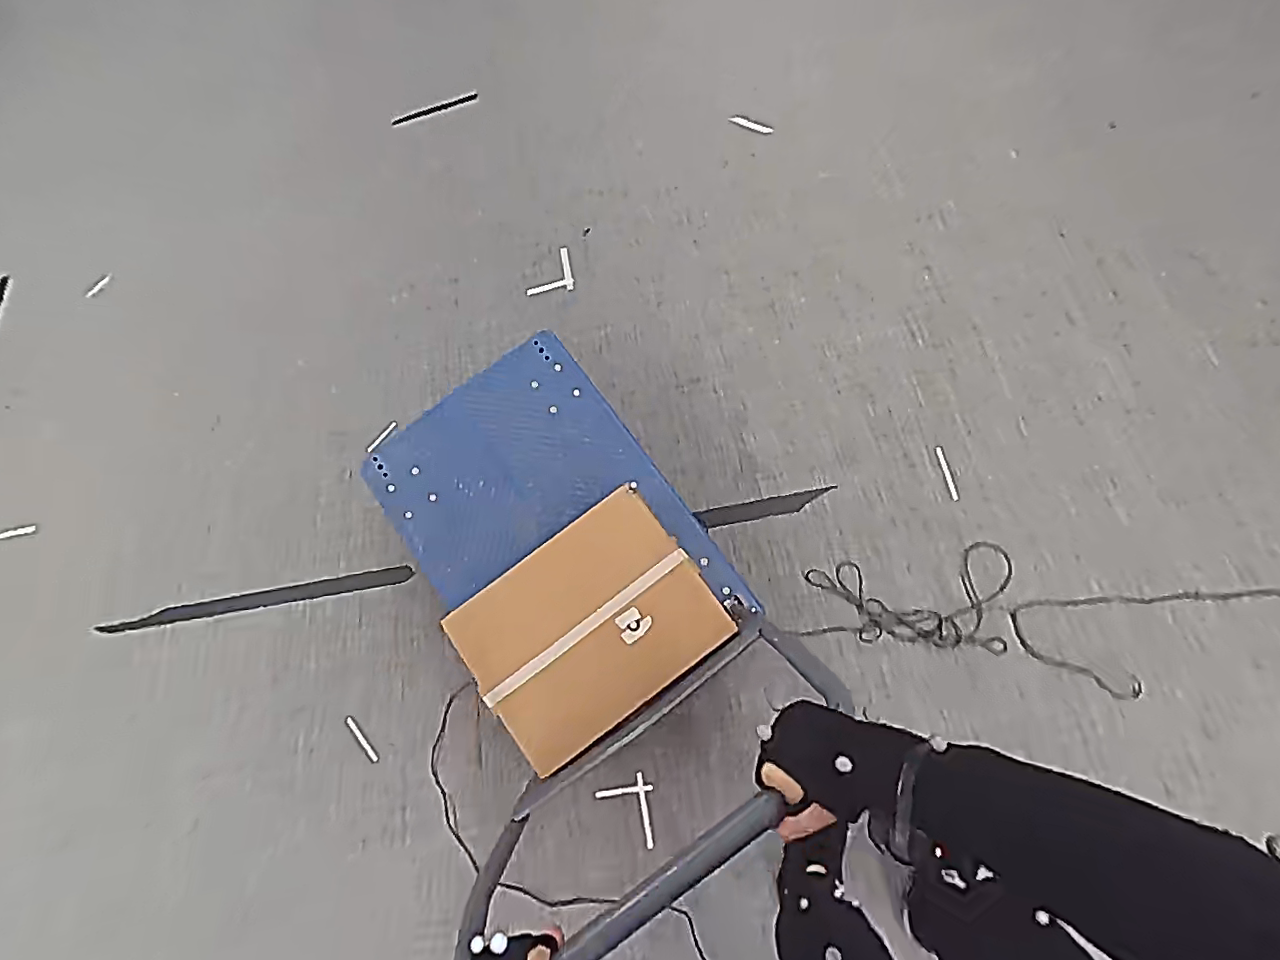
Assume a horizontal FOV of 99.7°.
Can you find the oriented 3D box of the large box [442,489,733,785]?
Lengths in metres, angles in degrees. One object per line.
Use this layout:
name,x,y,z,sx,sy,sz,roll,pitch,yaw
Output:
large box,-0.083,0.280,1.045,0.408,0.320,0.320,-37,80,-4
